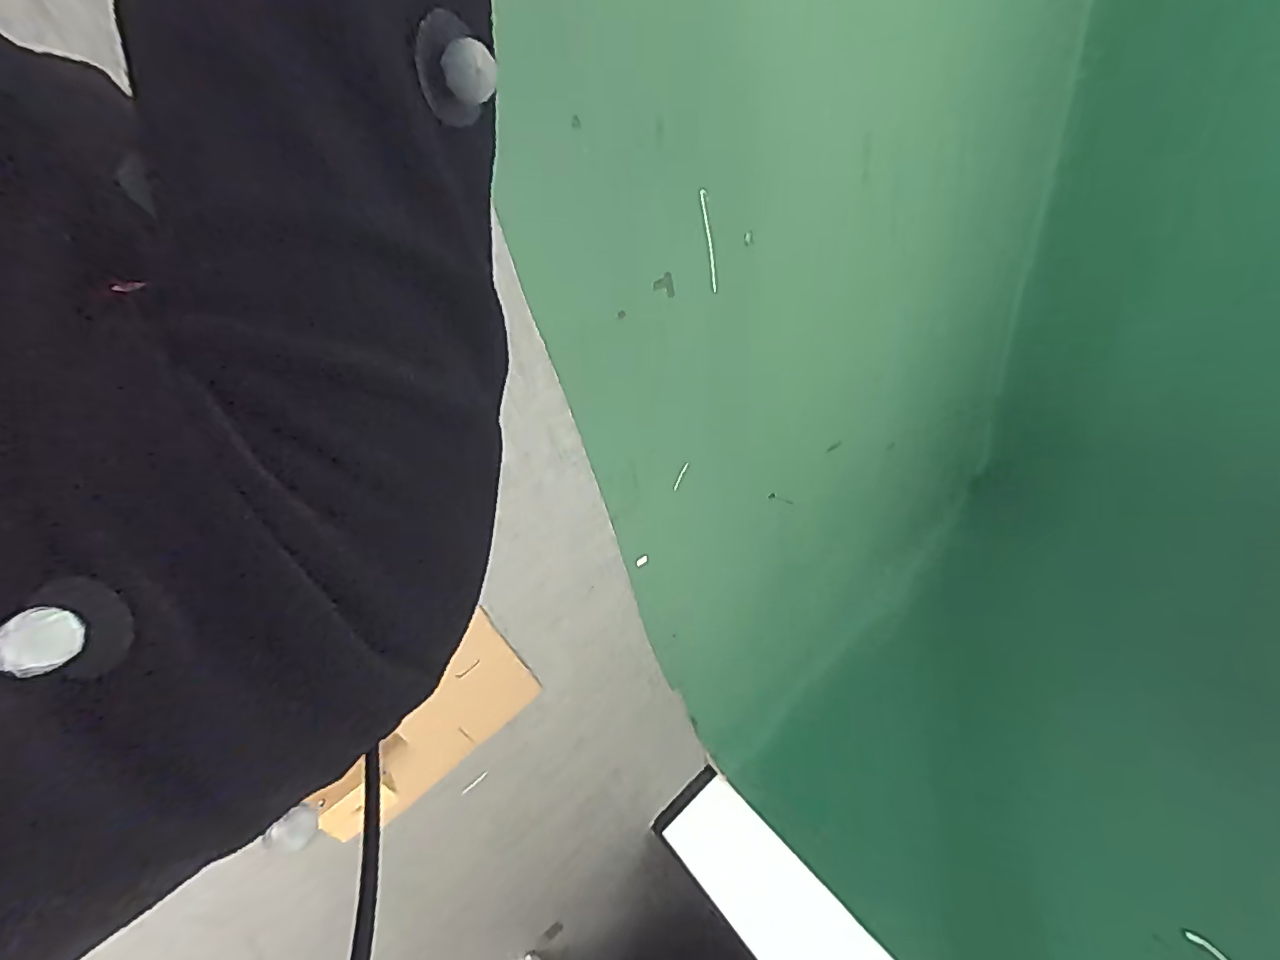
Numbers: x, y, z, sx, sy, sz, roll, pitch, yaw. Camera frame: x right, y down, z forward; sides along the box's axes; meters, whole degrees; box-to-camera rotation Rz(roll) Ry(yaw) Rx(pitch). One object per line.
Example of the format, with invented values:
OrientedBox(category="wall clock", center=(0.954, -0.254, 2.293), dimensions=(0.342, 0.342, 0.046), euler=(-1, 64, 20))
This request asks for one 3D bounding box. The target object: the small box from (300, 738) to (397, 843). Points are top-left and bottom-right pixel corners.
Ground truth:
OrientedBox(category="small box", center=(-0.850, 0.895, 1.572), dimensions=(0.179, 0.176, 0.168), euler=(-35, 132, -21))
